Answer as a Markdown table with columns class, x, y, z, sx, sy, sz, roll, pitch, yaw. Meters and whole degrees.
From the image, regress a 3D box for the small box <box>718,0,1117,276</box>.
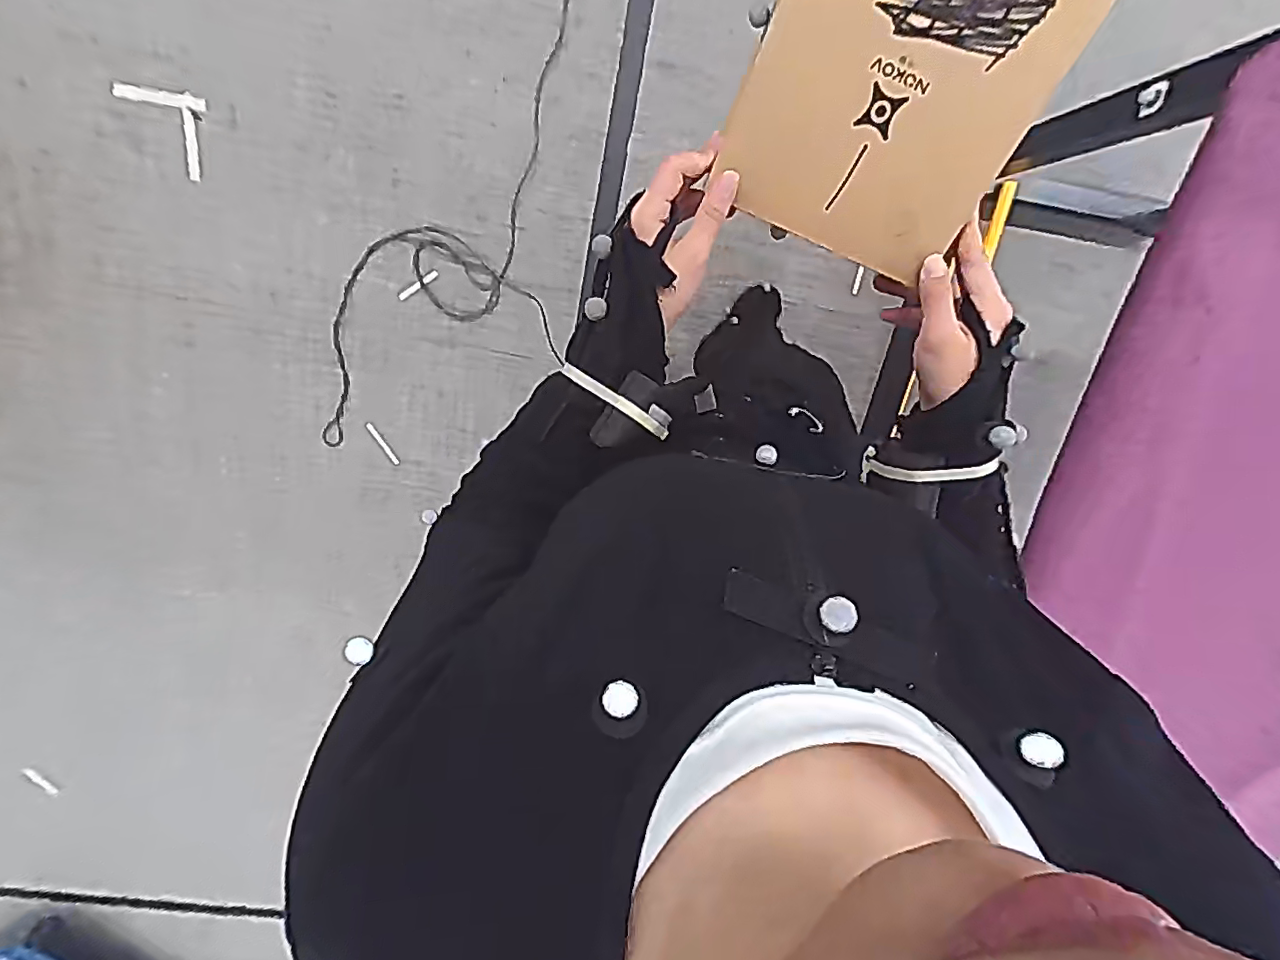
| class | x | y | z | sx | sy | sz | roll | pitch | yaw |
| --- | --- | --- | --- | --- | --- | --- | --- | --- | --- |
| small box | 0.160 | -0.274 | 0.377 | 0.168 | 0.176 | 0.179 | 21 | 122 | -6 |
